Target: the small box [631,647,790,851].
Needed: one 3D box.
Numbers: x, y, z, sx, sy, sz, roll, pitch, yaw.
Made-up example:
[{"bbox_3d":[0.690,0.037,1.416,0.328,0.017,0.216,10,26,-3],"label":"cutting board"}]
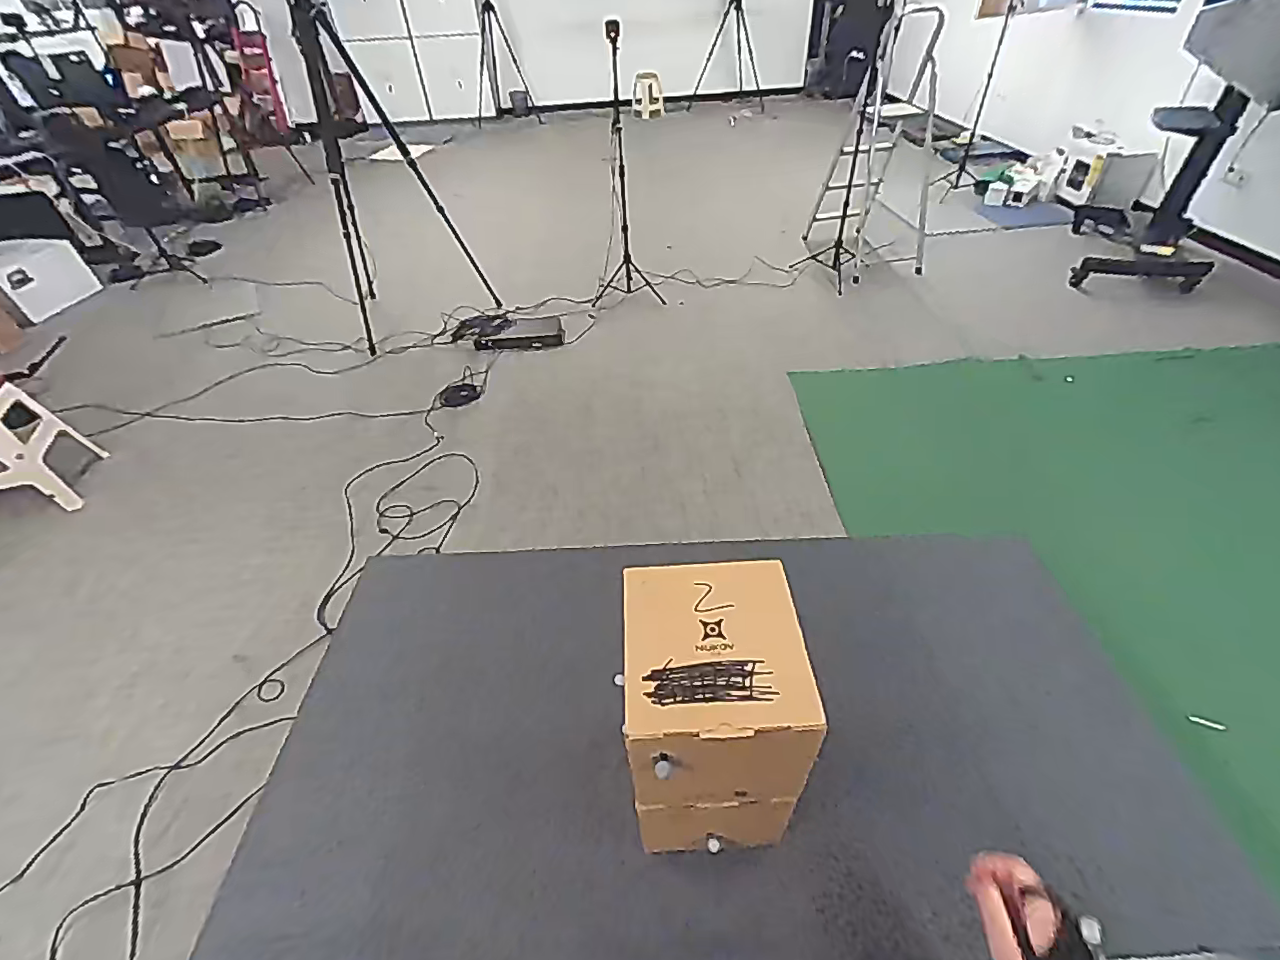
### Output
[{"bbox_3d":[0.073,0.330,0.667,0.168,0.176,0.179,-4,43,0],"label":"small box"}]
